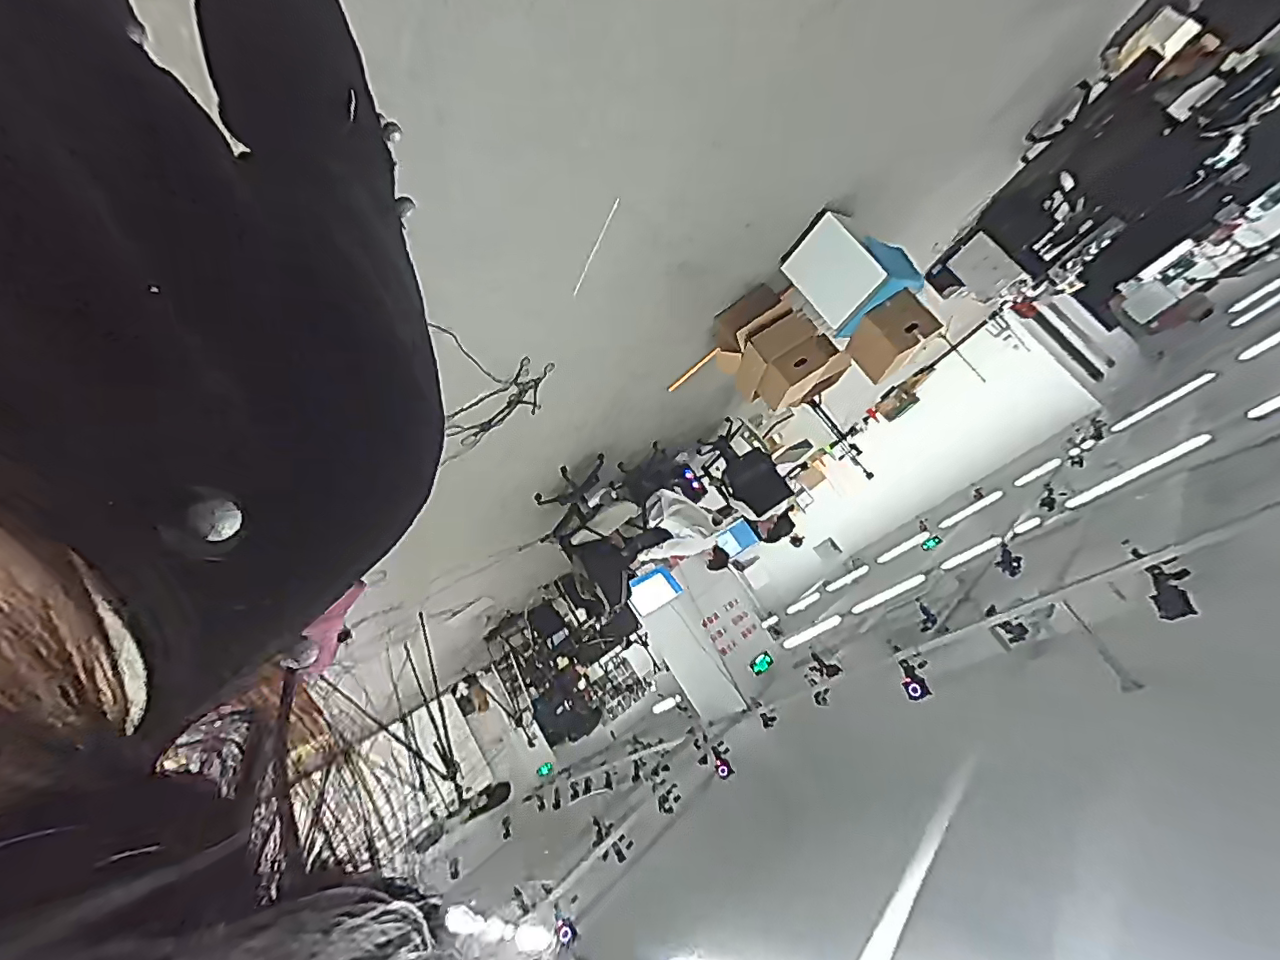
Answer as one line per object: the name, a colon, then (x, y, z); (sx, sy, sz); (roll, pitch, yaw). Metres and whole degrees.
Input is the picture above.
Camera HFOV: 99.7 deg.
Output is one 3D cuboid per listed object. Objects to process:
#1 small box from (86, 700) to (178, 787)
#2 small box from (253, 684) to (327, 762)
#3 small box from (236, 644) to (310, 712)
small box: (-1.559, 0.807, 1.665); (0.168, 0.176, 0.179); (-21, 161, -44)
small box: (-1.219, 0.843, 1.883); (0.179, 0.176, 0.168); (-24, 162, -36)
small box: (-1.306, 0.714, 1.929); (0.179, 0.176, 0.168); (-22, 161, -38)
